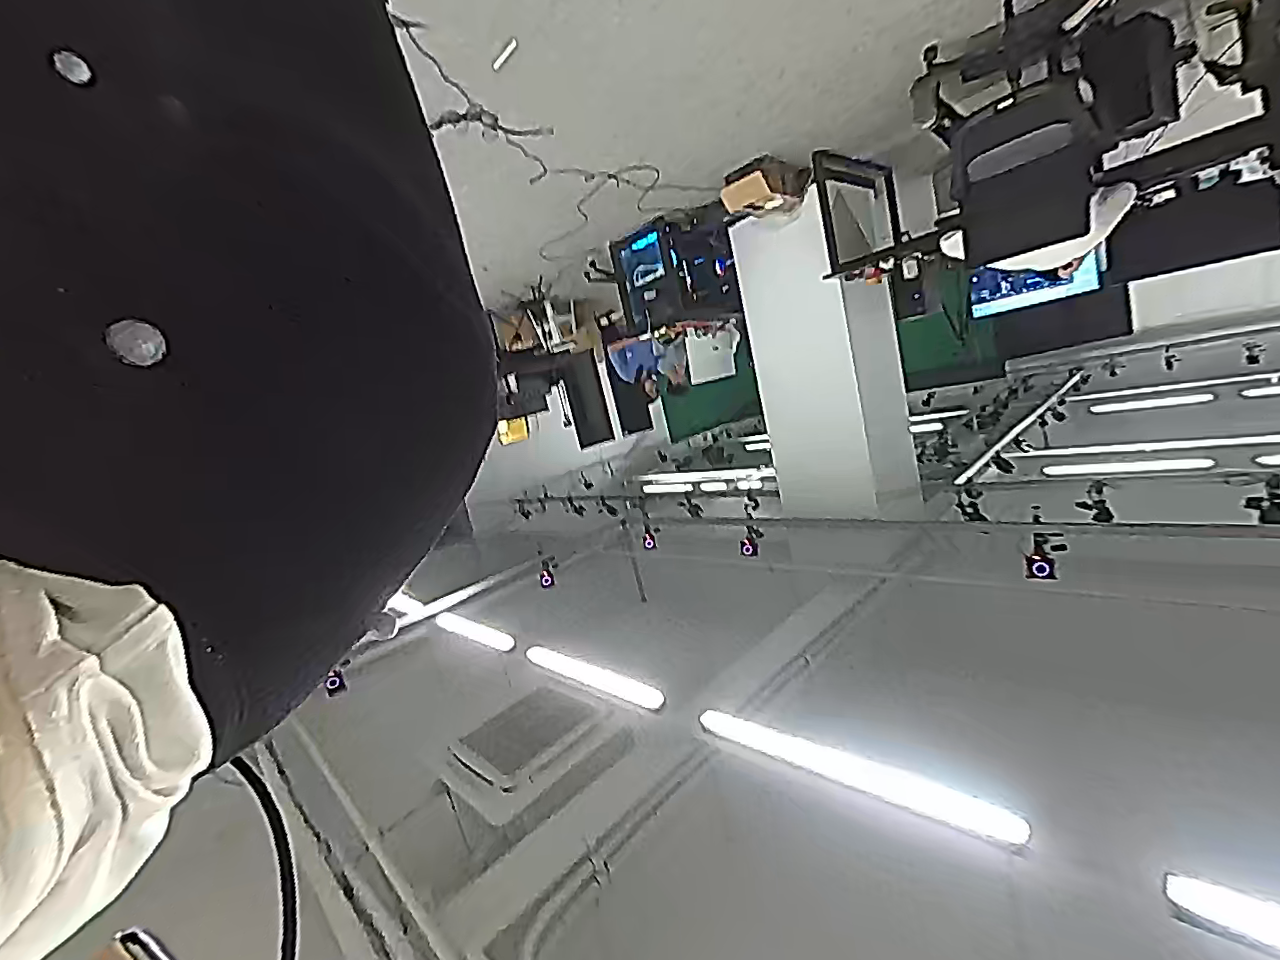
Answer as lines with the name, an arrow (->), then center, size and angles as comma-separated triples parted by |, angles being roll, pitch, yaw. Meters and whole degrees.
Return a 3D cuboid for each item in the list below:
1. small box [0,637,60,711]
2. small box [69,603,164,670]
small box -> -1.971, 0.608, 1.695 | 0.179, 0.176, 0.168 | -6, -167, 42
small box -> -1.837, 0.541, 1.897 | 0.168, 0.176, 0.179 | -8, -170, 31
